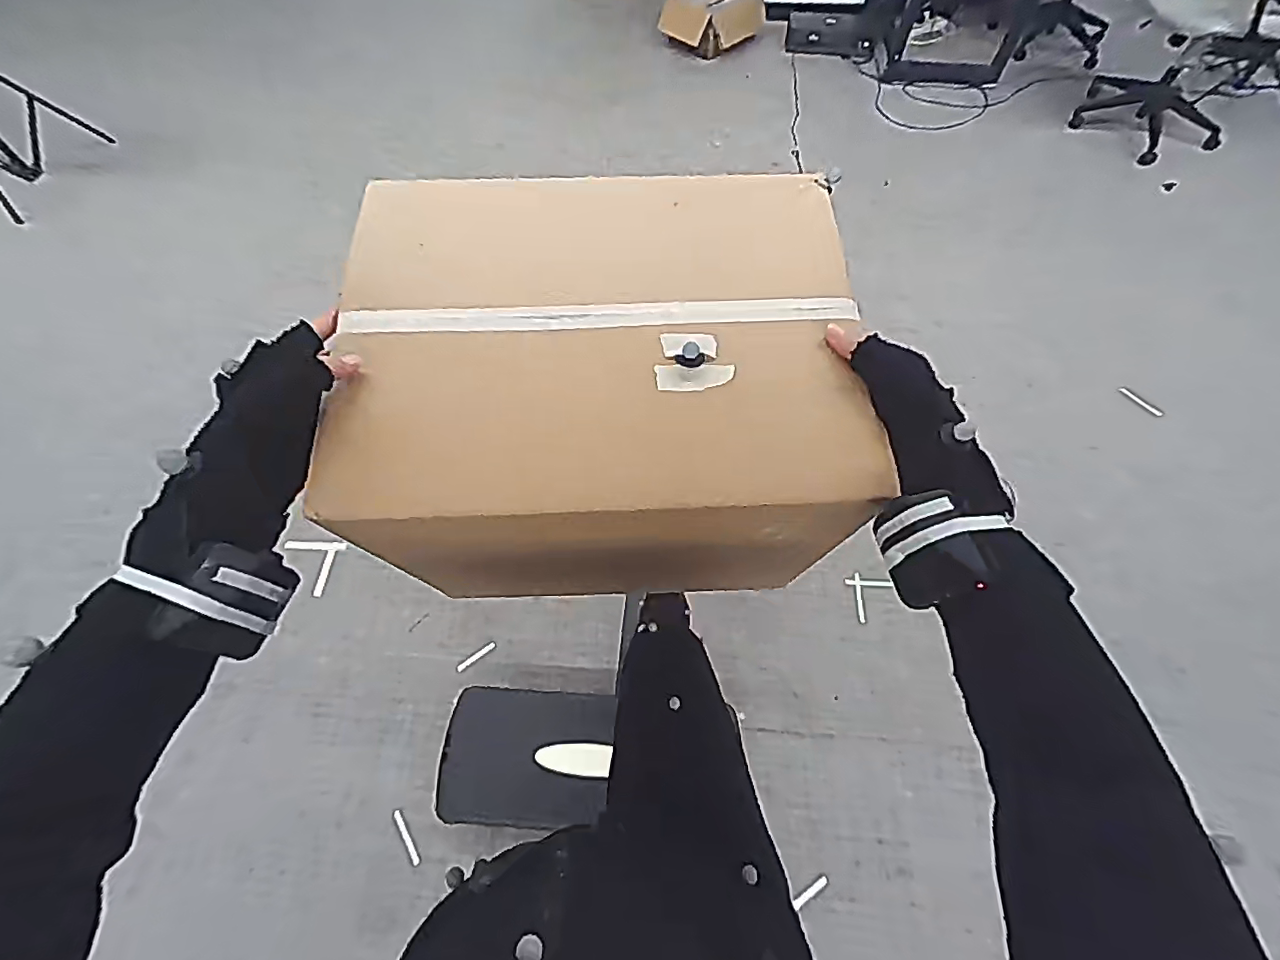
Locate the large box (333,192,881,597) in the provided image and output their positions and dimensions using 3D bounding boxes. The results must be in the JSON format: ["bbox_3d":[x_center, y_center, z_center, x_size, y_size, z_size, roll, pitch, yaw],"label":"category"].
[{"bbox_3d":[-0.031,-0.065,0.580,0.408,0.320,0.320,-2,68,-1],"label":"large box"}]
